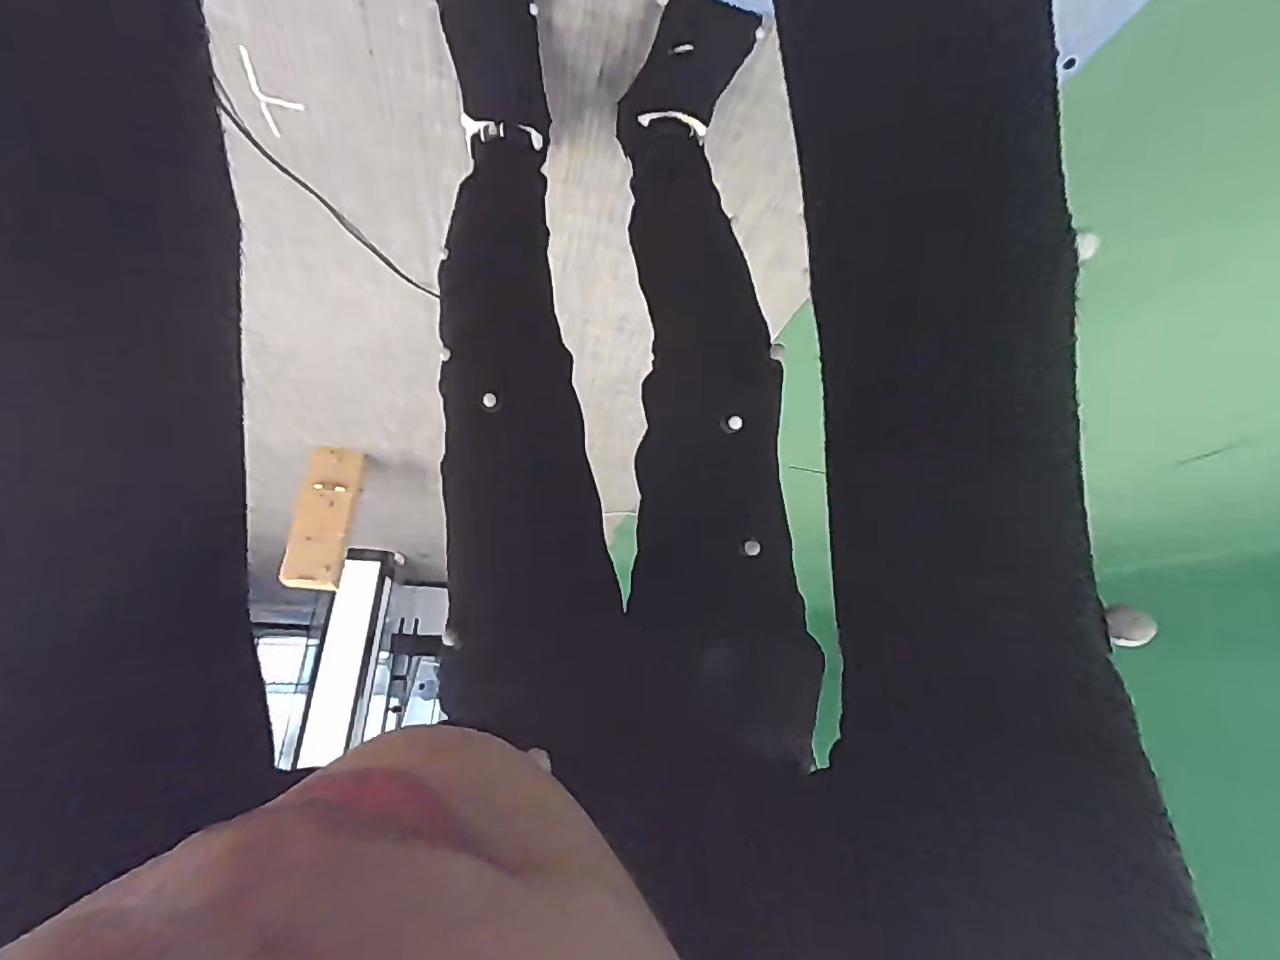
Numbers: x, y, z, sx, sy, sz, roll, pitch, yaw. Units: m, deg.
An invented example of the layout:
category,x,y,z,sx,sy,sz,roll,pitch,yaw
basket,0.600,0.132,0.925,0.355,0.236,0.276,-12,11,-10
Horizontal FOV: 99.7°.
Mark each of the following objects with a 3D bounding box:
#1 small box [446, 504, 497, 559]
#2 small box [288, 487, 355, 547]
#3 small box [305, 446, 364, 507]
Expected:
category,x,y,z,sx,sy,sz,roll,pitch,yaw
small box,-0.661,0.203,2.118,0.168,0.176,0.179,9,156,-18
small box,-1.165,0.138,1.990,0.168,0.176,0.179,10,157,-19
small box,-1.152,-0.012,2.047,0.168,0.176,0.179,10,157,-25
